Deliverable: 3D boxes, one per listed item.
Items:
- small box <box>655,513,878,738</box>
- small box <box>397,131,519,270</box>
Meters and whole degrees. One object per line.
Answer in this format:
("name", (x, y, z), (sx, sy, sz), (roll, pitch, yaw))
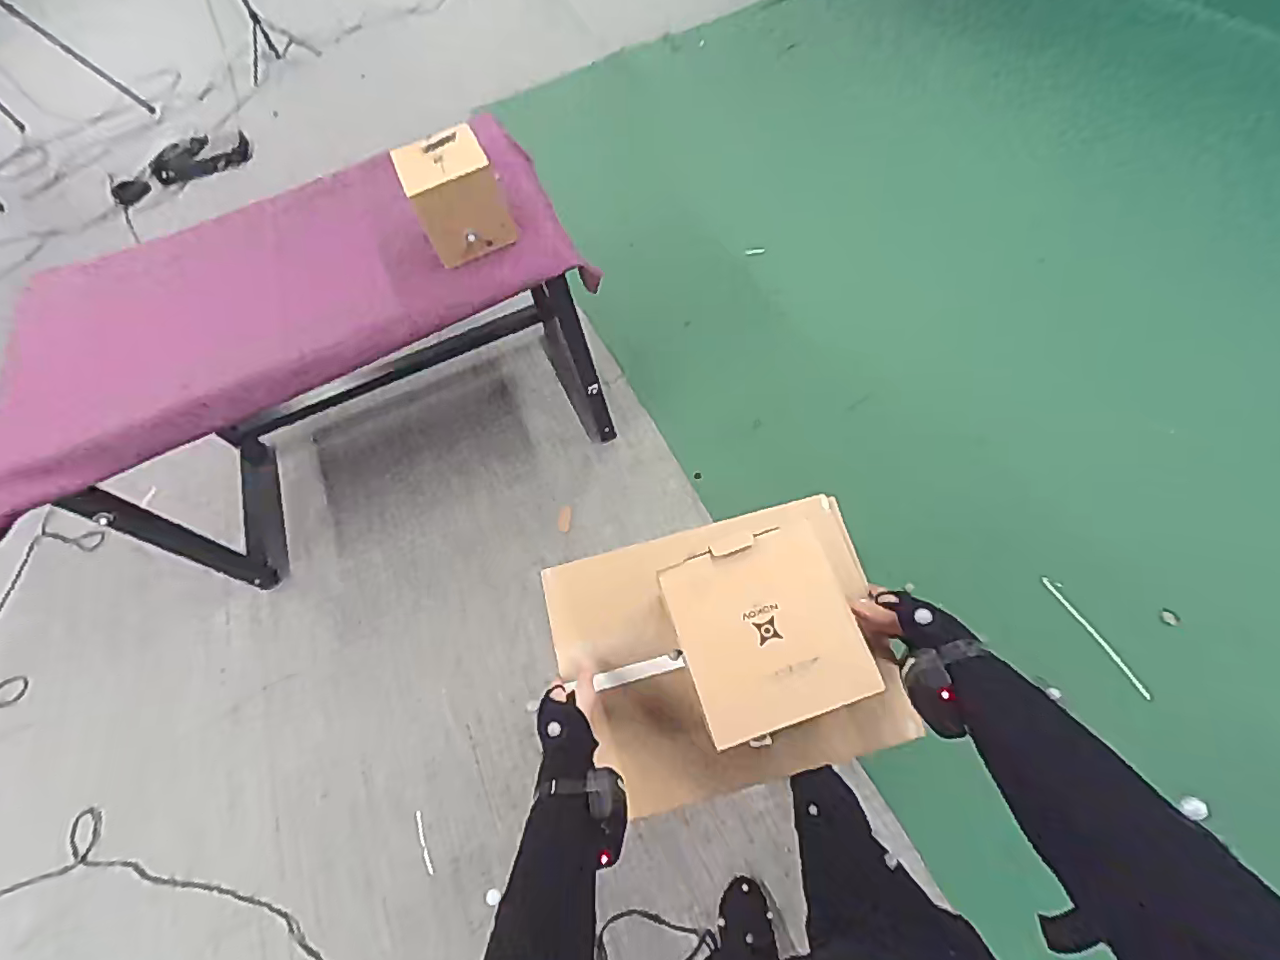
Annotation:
("small box", (0.119, 0.160, 0.591), (0.168, 0.176, 0.179), (-18, 70, -2))
("small box", (-0.368, -0.569, 1.110), (0.168, 0.176, 0.179), (-25, 60, -5))
